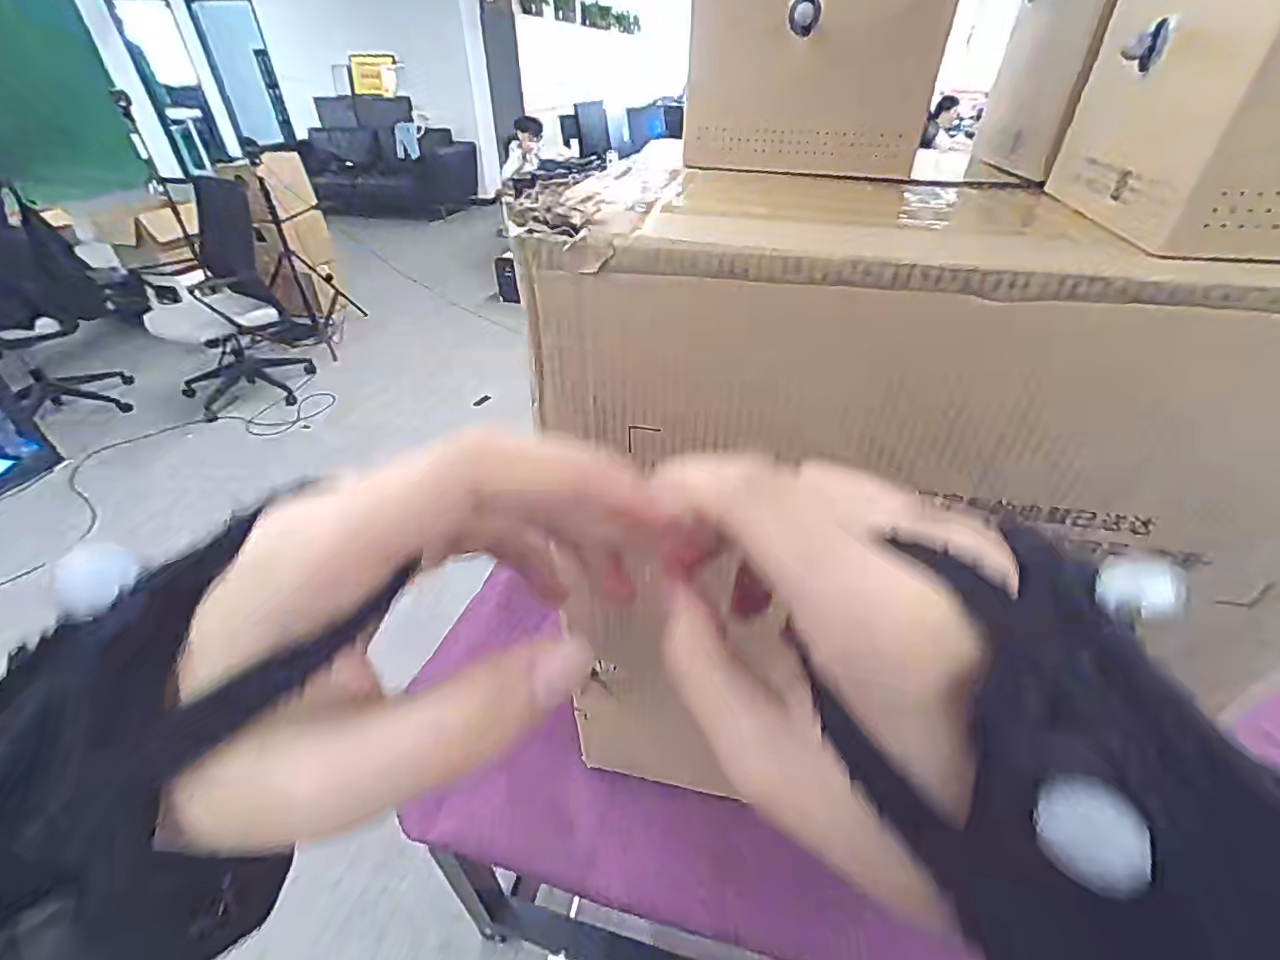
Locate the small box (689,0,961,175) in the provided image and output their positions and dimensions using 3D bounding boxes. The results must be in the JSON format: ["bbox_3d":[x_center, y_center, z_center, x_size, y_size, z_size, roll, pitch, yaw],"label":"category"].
[{"bbox_3d":[0.143,-0.345,0.425,0.179,0.176,0.168,10,37,14],"label":"small box"}]
